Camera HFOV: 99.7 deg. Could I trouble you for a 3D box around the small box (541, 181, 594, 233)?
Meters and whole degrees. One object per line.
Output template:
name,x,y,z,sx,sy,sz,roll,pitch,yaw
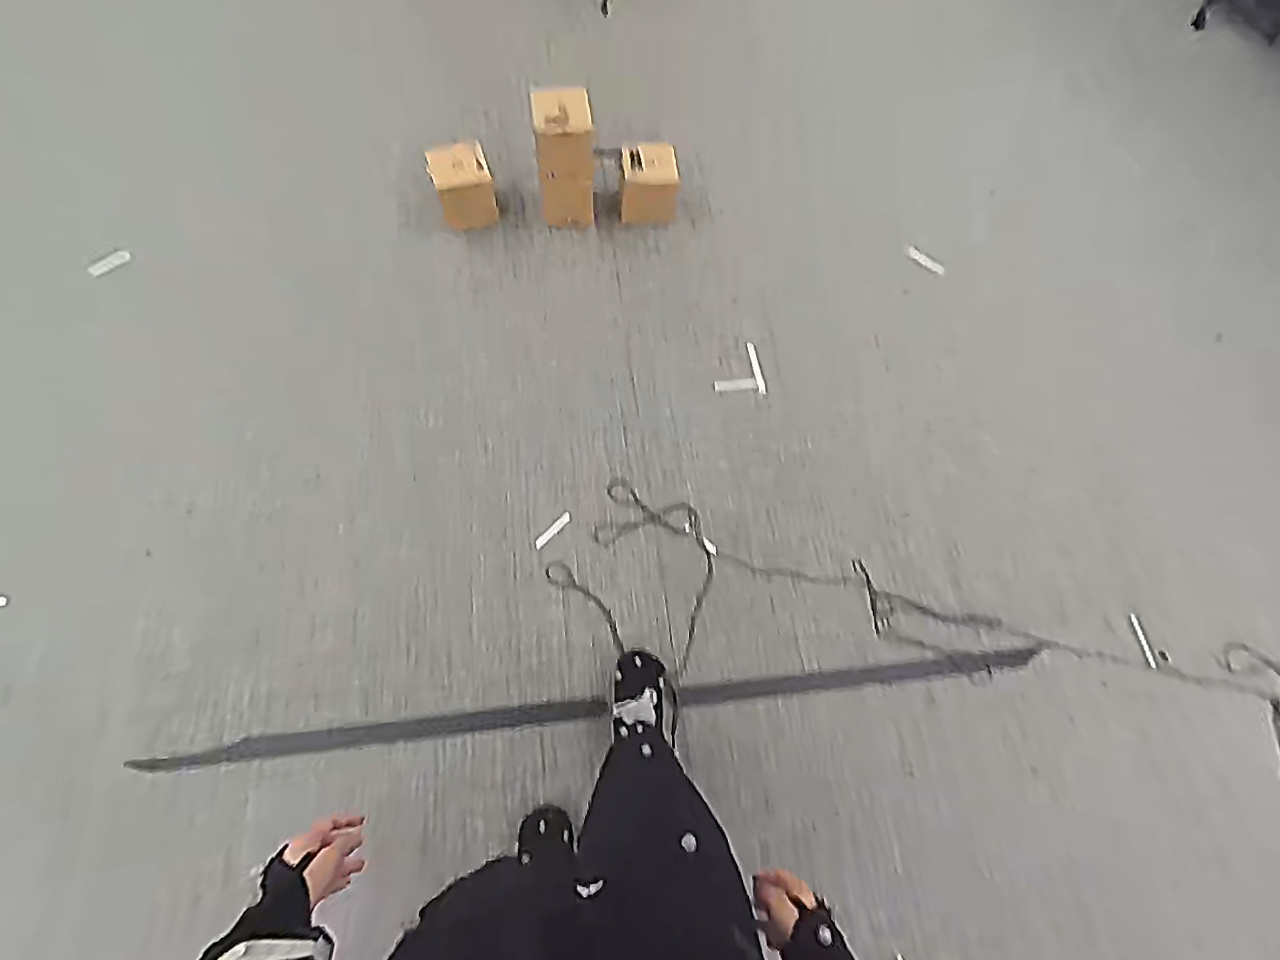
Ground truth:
small box,-0.237,-0.946,1.779,0.168,0.176,0.179,-2,69,-5

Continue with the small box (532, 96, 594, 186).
small box,-0.229,-1.015,1.630,0.168,0.176,0.179,-6,68,-7

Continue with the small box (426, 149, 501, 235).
small box,-0.564,-0.924,1.745,0.179,0.176,0.168,-17,71,-10
